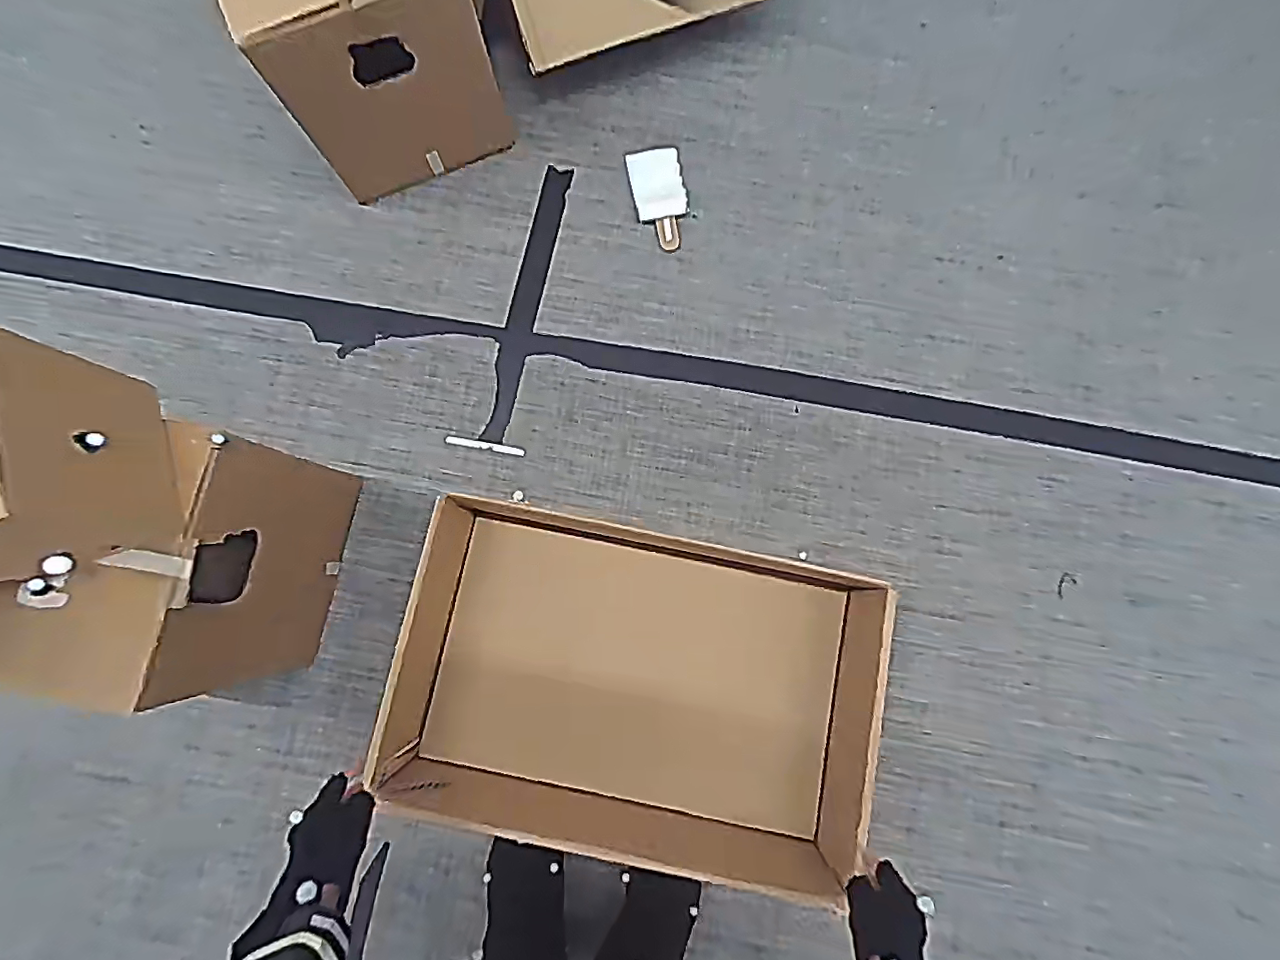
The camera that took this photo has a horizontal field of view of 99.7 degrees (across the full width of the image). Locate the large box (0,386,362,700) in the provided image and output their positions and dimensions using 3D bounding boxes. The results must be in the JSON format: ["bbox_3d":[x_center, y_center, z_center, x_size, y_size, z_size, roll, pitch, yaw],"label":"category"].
[{"bbox_3d":[-0.683,0.080,0.745,0.408,0.320,0.320,9,82,1],"label":"large box"}]
